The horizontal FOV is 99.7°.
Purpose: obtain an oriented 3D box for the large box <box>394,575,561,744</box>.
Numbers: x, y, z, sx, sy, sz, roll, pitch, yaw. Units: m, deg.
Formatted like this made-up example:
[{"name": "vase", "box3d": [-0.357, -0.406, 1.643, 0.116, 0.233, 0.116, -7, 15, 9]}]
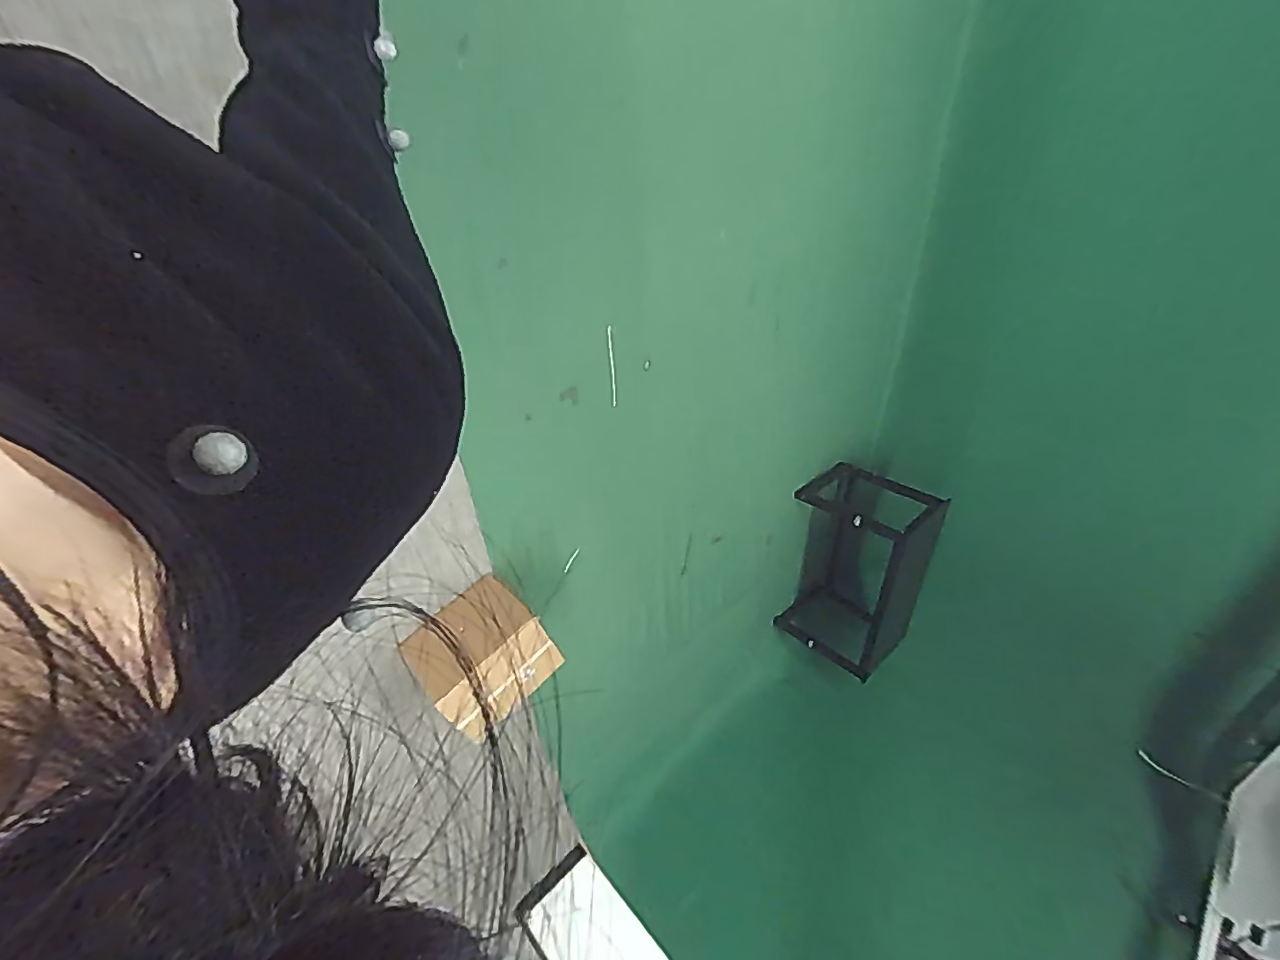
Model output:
[{"name": "large box", "box3d": [-0.565, 0.622, 1.910, 0.408, 0.320, 0.320, -41, 137, -24]}]
